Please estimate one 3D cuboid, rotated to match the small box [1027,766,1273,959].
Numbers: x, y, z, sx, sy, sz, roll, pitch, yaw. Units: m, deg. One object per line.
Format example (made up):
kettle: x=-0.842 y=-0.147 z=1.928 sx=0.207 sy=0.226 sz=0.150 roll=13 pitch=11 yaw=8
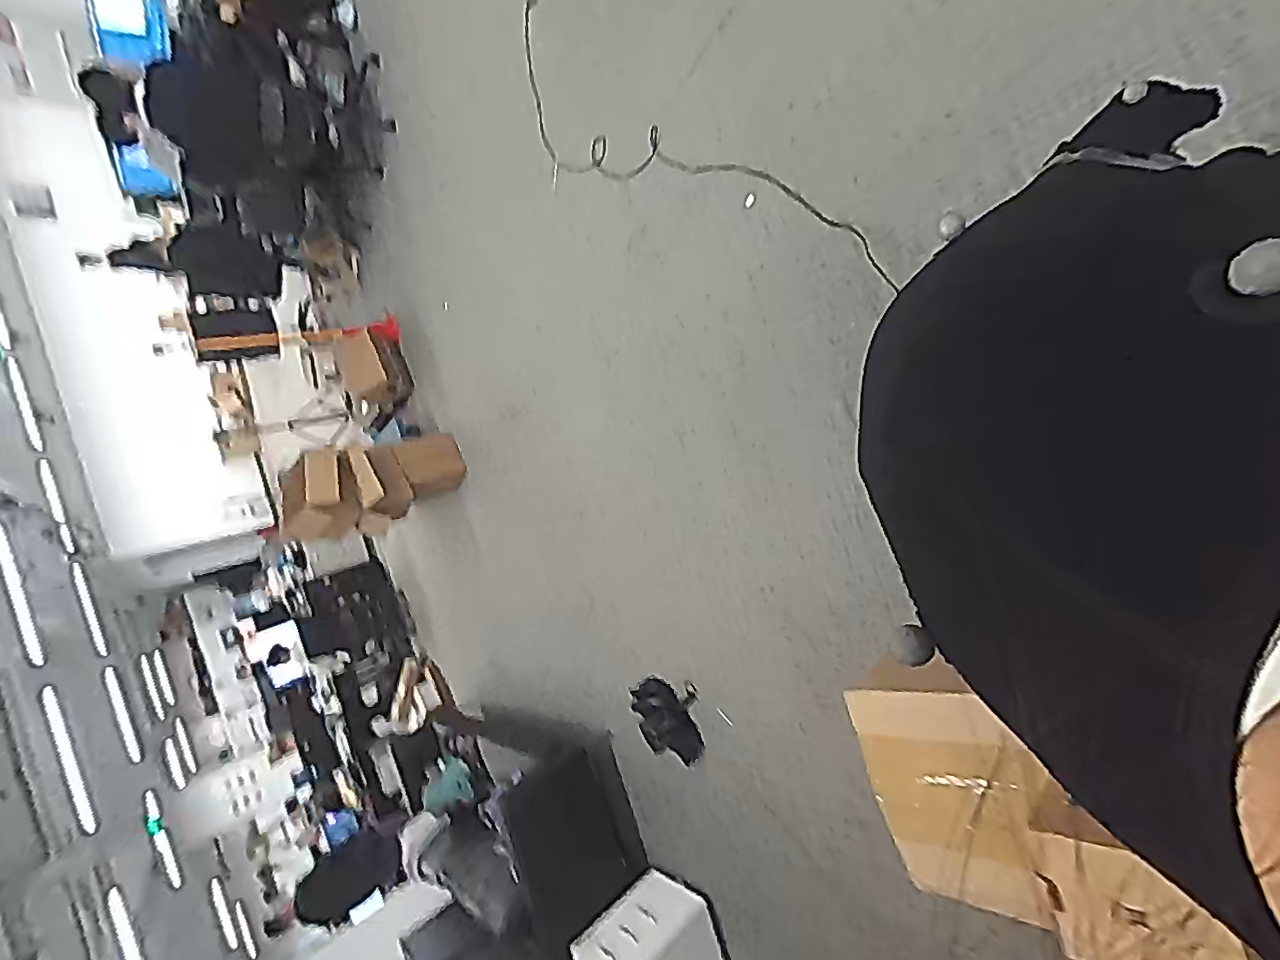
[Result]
small box: x=0.628 y=0.482 z=0.670 sx=0.179 sy=0.176 sz=0.168 roll=-24 pitch=81 yaw=49
